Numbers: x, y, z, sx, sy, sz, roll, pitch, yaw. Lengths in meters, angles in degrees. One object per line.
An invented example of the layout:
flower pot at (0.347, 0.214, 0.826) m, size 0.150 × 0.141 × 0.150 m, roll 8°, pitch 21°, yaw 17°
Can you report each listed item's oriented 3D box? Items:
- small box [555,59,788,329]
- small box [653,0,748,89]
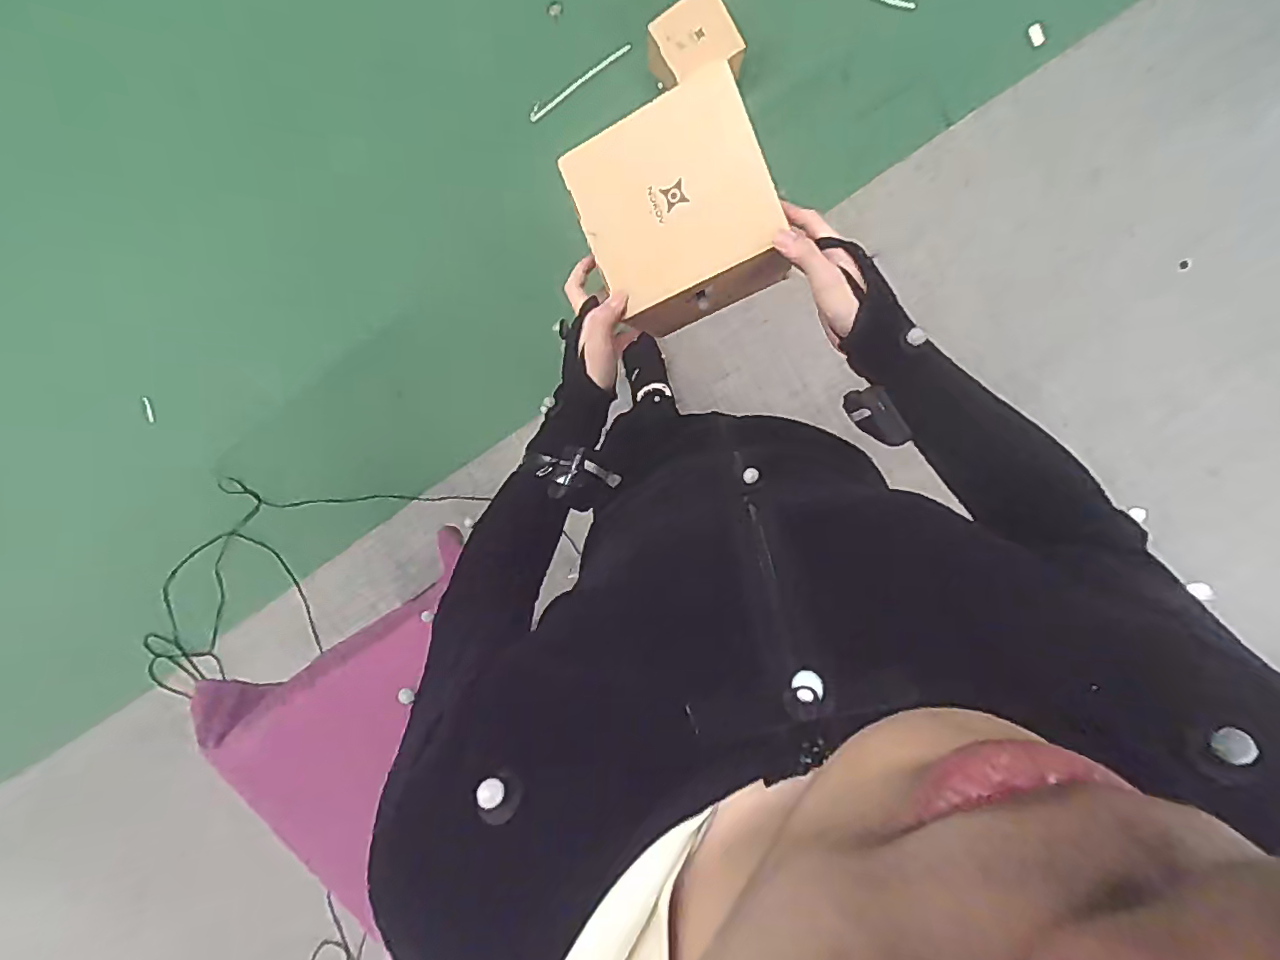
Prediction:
small box at (0.044, -0.273, 0.568) m, size 0.179 × 0.176 × 0.168 m, roll -21°, pitch 93°, yaw 19°
small box at (0.143, -1.042, 1.344) m, size 0.179 × 0.176 × 0.168 m, roll -31°, pitch 97°, yaw 7°
